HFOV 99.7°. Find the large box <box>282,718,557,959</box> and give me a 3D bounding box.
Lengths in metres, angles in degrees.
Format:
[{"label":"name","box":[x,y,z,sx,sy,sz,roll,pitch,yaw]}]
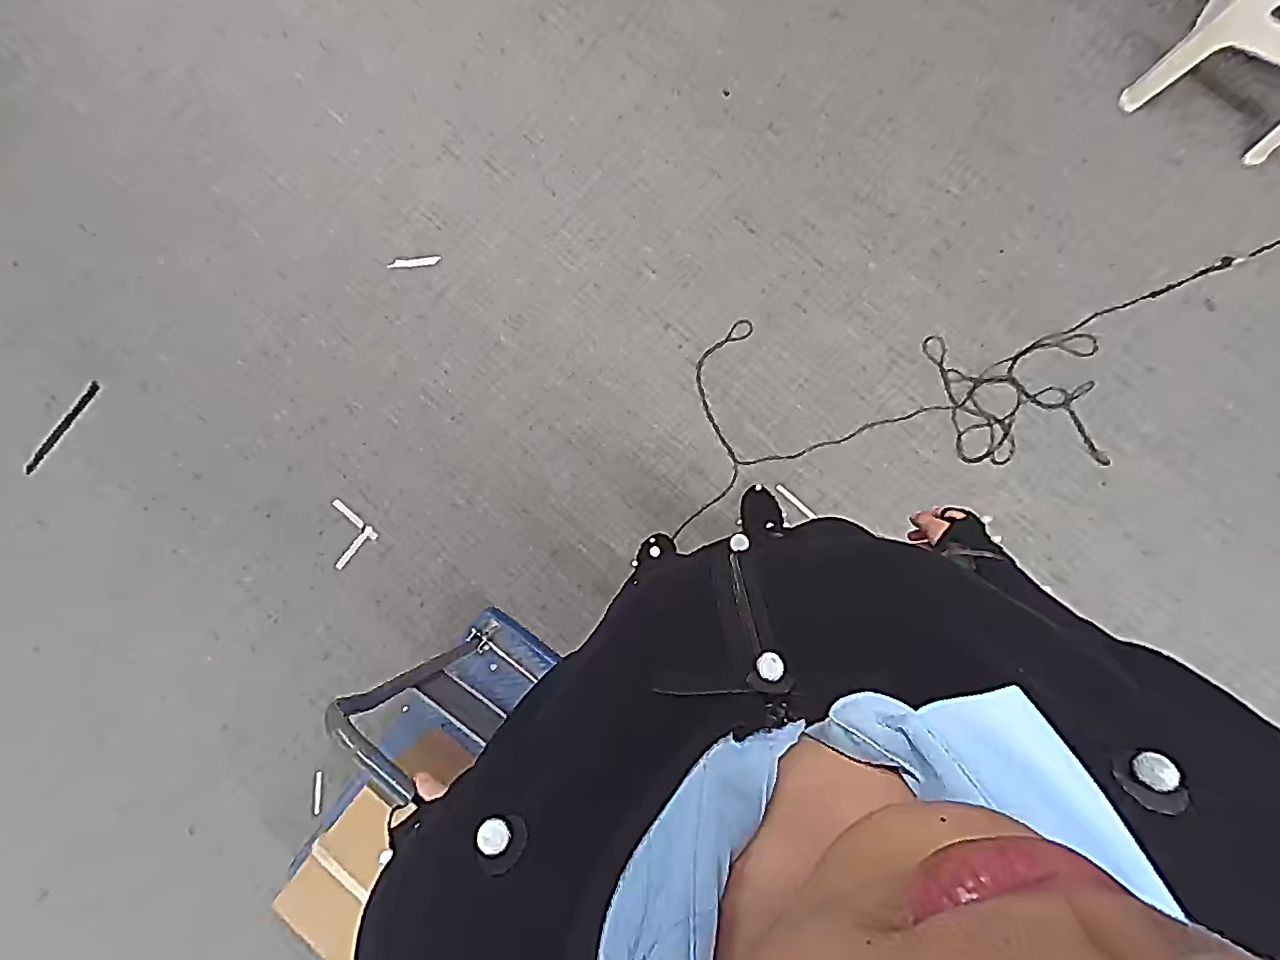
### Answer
[{"label":"large box","box":[-0.458,0.827,1.206,0.408,0.320,0.320,38,92,5]}]
